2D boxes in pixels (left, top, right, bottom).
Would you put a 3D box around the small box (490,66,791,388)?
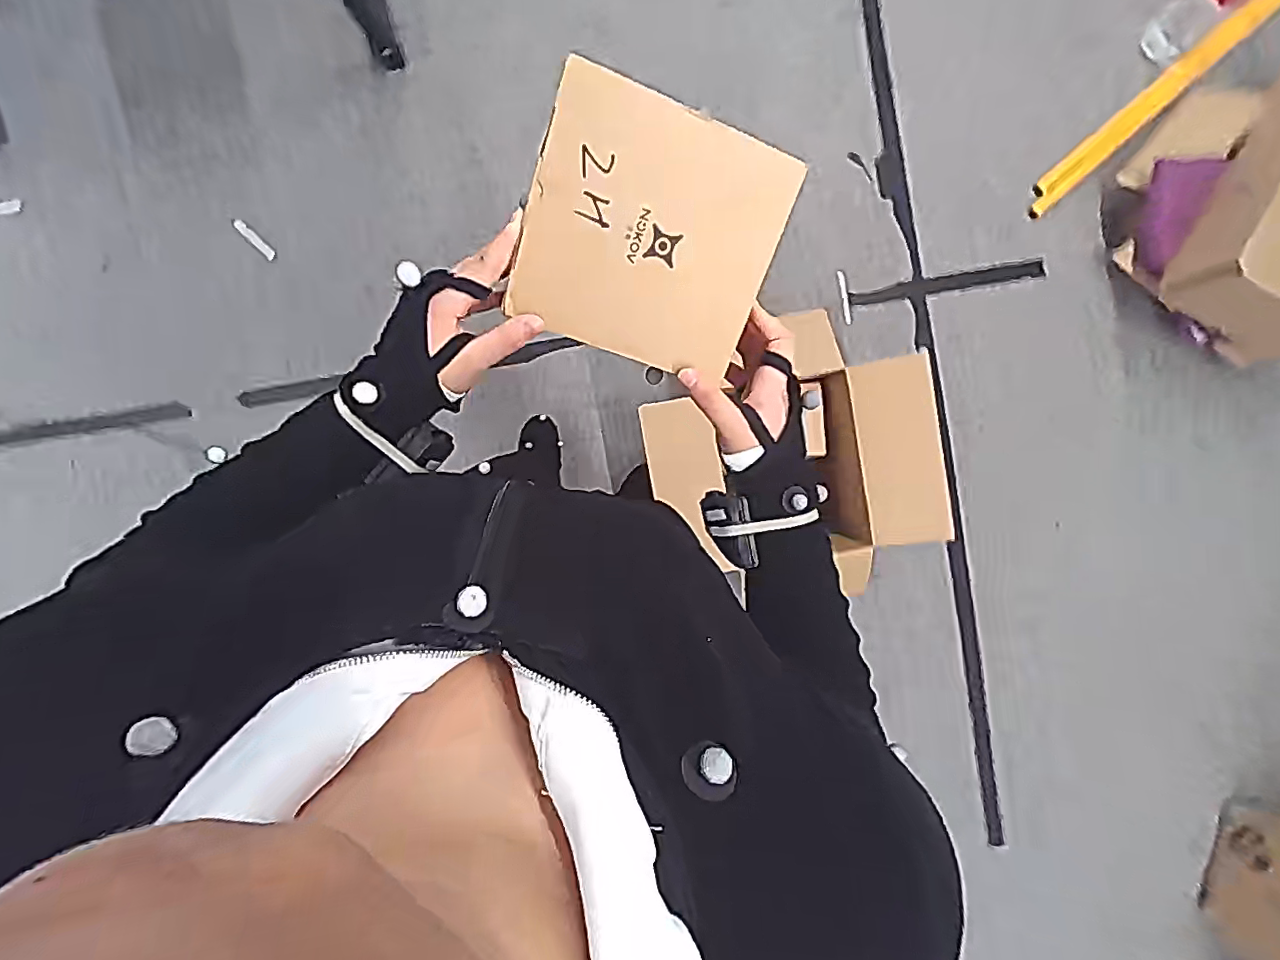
[{"bbox_3d":[-0.010,-0.194,0.454,0.179,0.176,0.168,16,108,-12],"label":"small box"}]
